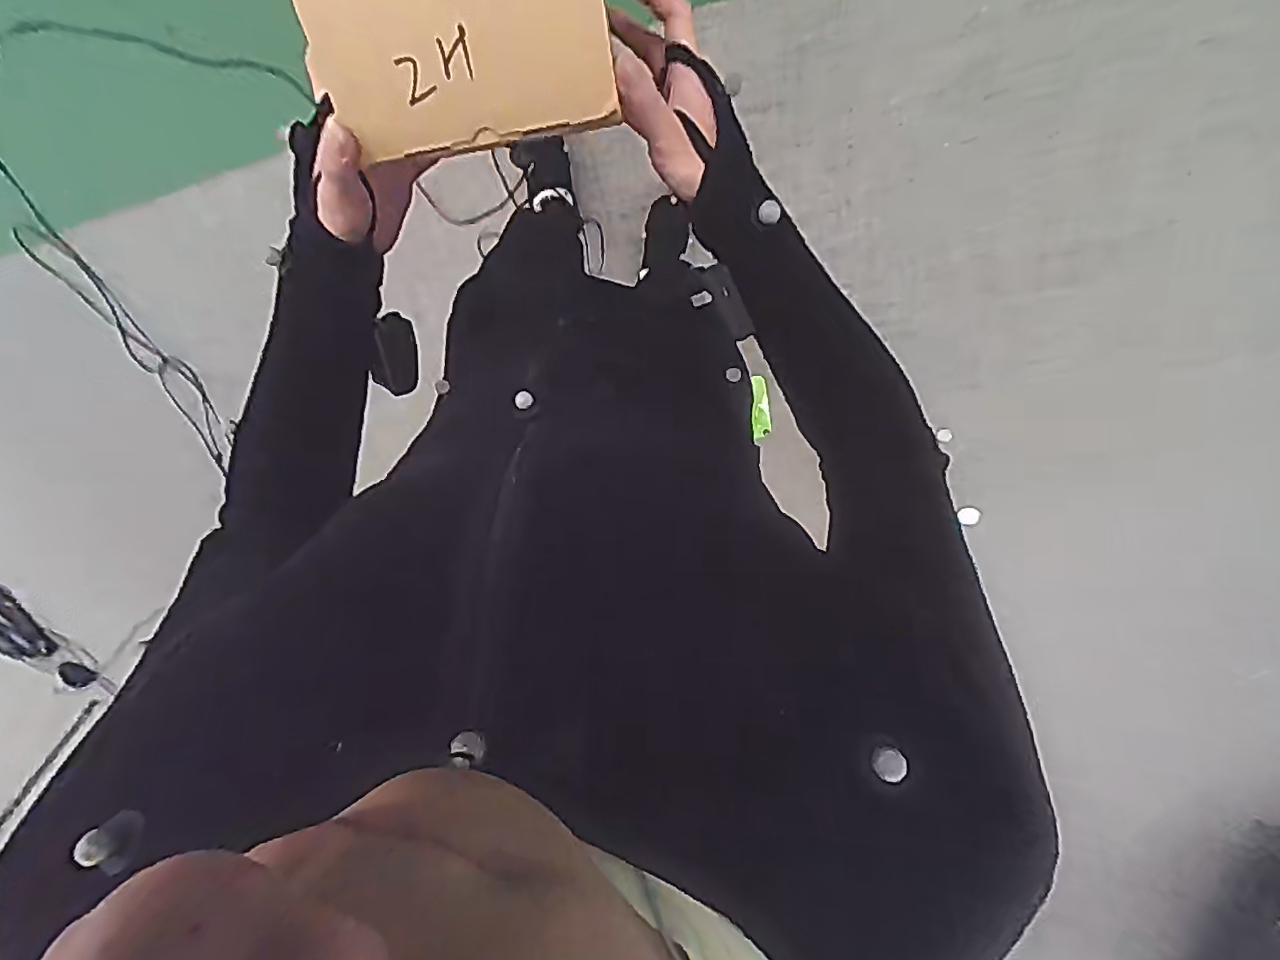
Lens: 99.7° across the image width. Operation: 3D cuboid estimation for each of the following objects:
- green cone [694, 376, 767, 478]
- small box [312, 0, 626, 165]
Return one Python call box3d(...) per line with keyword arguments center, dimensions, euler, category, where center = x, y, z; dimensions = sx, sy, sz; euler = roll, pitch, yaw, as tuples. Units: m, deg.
box3d(center=(0.251, -0.119, 1.484), dimensions=(0.202, 0.368, 0.200), euler=(-8, 120, 14), category="green cone")
box3d(center=(-0.102, -0.320, 0.357), dimensions=(0.168, 0.176, 0.179), euler=(-7, 123, 3), category="small box")
